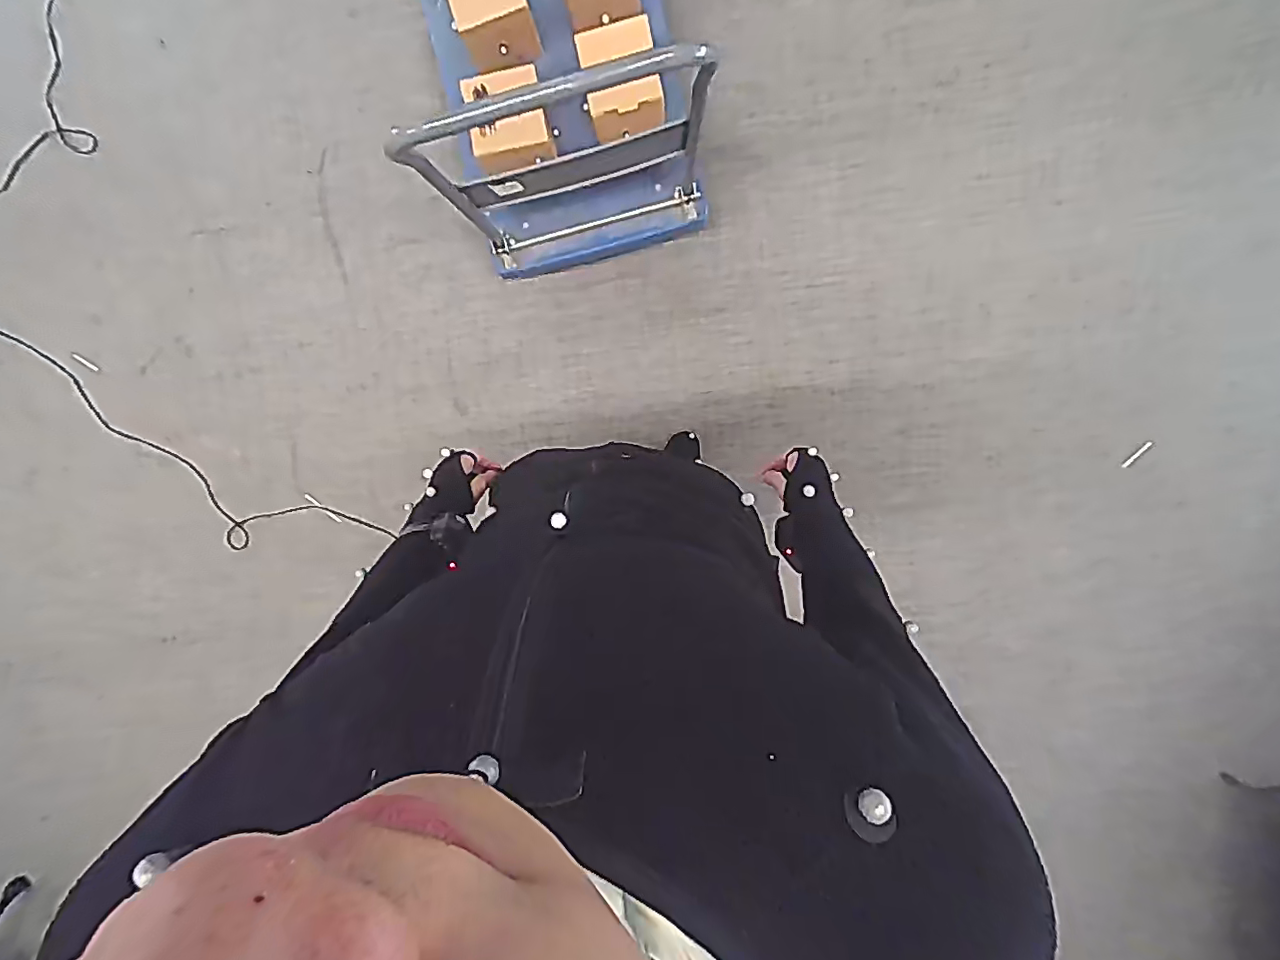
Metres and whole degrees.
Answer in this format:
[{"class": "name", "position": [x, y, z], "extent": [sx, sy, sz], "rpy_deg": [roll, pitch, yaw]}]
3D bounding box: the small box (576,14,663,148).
[{"class": "small box", "position": [-0.043, -0.930, 1.275], "extent": [0.168, 0.176, 0.179], "rpy_deg": [-13, 96, 5]}]

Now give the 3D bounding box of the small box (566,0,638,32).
[{"class": "small box", "position": [-0.108, -1.191, 1.247], "extent": [0.168, 0.176, 0.179], "rpy_deg": [-17, 96, 6]}]

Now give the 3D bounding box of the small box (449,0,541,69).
[{"class": "small box", "position": [-0.347, -1.116, 1.272], "extent": [0.168, 0.176, 0.179], "rpy_deg": [-17, 95, 5]}]
